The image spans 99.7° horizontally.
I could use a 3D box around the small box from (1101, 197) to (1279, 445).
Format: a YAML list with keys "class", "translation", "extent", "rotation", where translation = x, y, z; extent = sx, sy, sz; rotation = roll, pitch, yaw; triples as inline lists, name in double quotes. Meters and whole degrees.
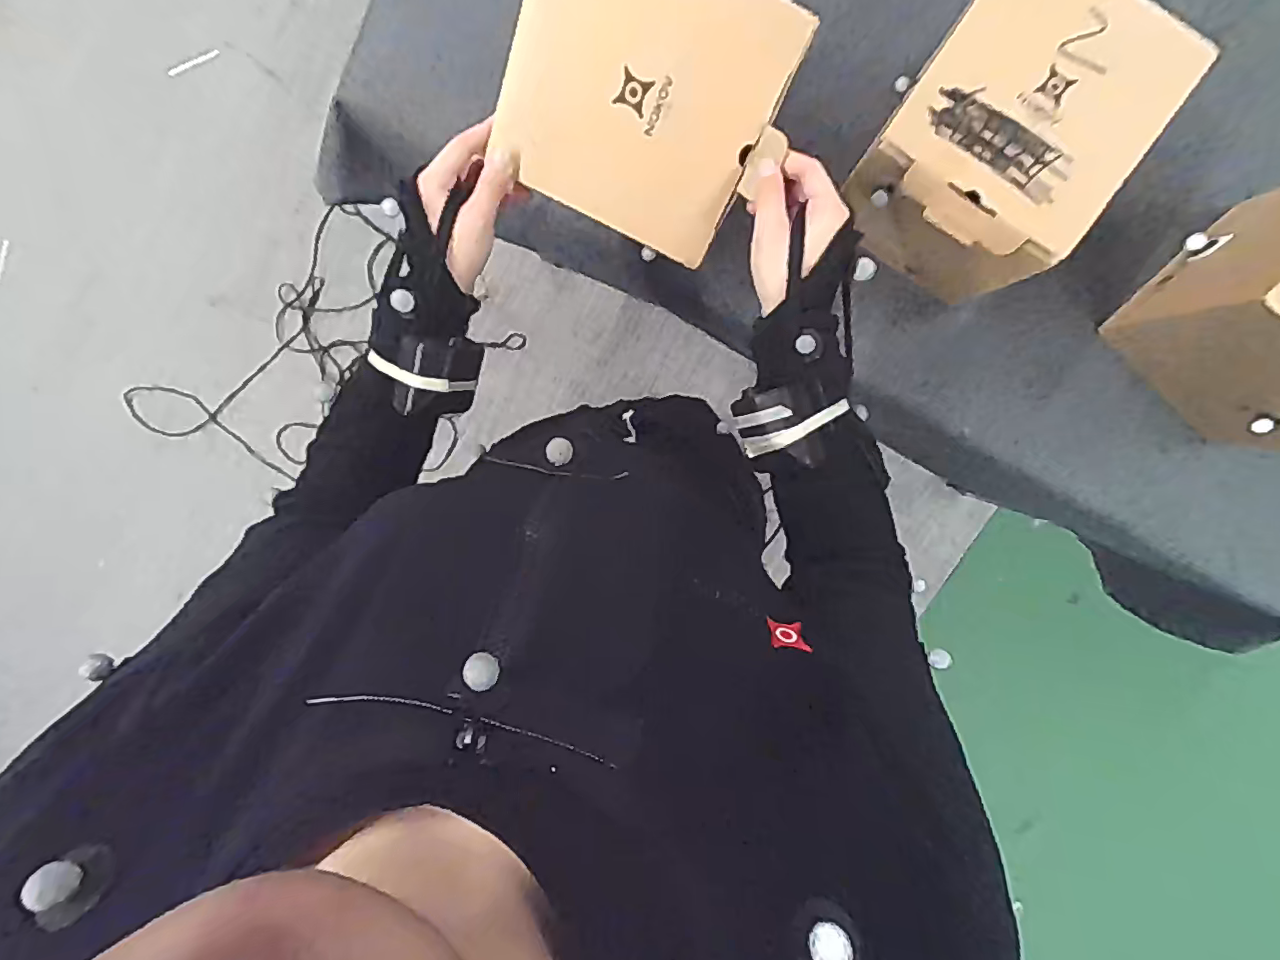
- class: "small box"
  translation: [0.586, -0.143, 0.478]
  extent: [0.179, 0.176, 0.168]
  rotation: [44, 98, -1]
